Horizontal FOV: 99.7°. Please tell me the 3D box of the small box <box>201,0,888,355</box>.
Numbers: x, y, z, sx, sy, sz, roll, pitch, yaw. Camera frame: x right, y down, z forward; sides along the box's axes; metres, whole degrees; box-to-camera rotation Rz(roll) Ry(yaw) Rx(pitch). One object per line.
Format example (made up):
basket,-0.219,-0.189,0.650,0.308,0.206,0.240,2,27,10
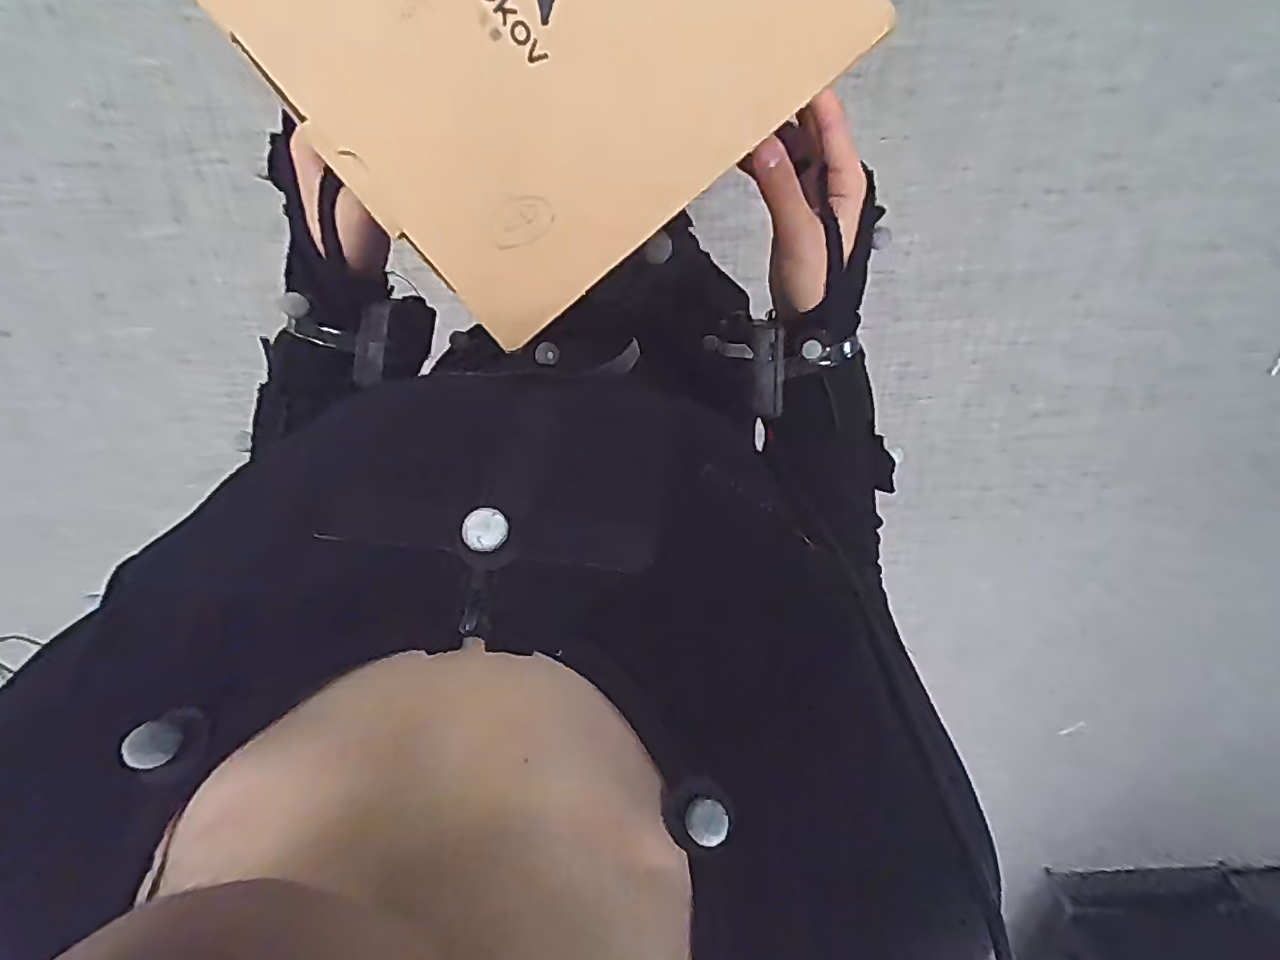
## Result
small box,-0.030,-0.188,0.247,0.179,0.176,0.168,-35,109,17
